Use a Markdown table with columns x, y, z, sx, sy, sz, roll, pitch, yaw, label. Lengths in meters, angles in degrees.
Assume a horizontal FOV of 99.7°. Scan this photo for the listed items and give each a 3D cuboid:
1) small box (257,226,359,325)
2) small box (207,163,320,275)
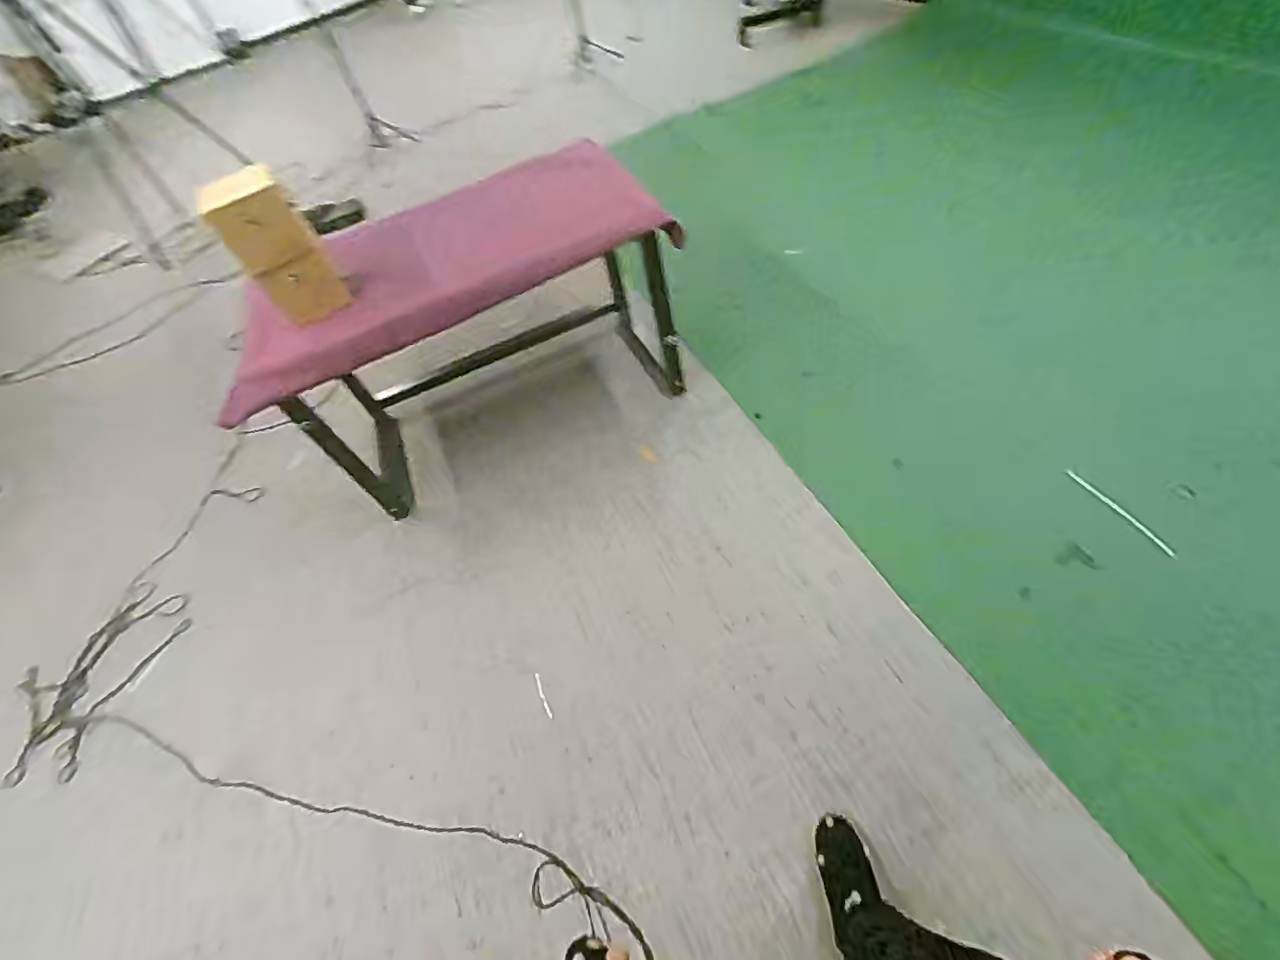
| x | y | z | sx | sy | sz | roll | pitch | yaw | label |
| --- | --- | --- | --- | --- | --- | --- | --- | --- | --- |
| -0.914 | -0.560 | 1.490 | 0.179 | 0.176 | 0.168 | -28 | 54 | -8 | small box |
| -0.938 | -0.653 | 1.360 | 0.179 | 0.176 | 0.168 | -30 | 55 | -9 | small box |
